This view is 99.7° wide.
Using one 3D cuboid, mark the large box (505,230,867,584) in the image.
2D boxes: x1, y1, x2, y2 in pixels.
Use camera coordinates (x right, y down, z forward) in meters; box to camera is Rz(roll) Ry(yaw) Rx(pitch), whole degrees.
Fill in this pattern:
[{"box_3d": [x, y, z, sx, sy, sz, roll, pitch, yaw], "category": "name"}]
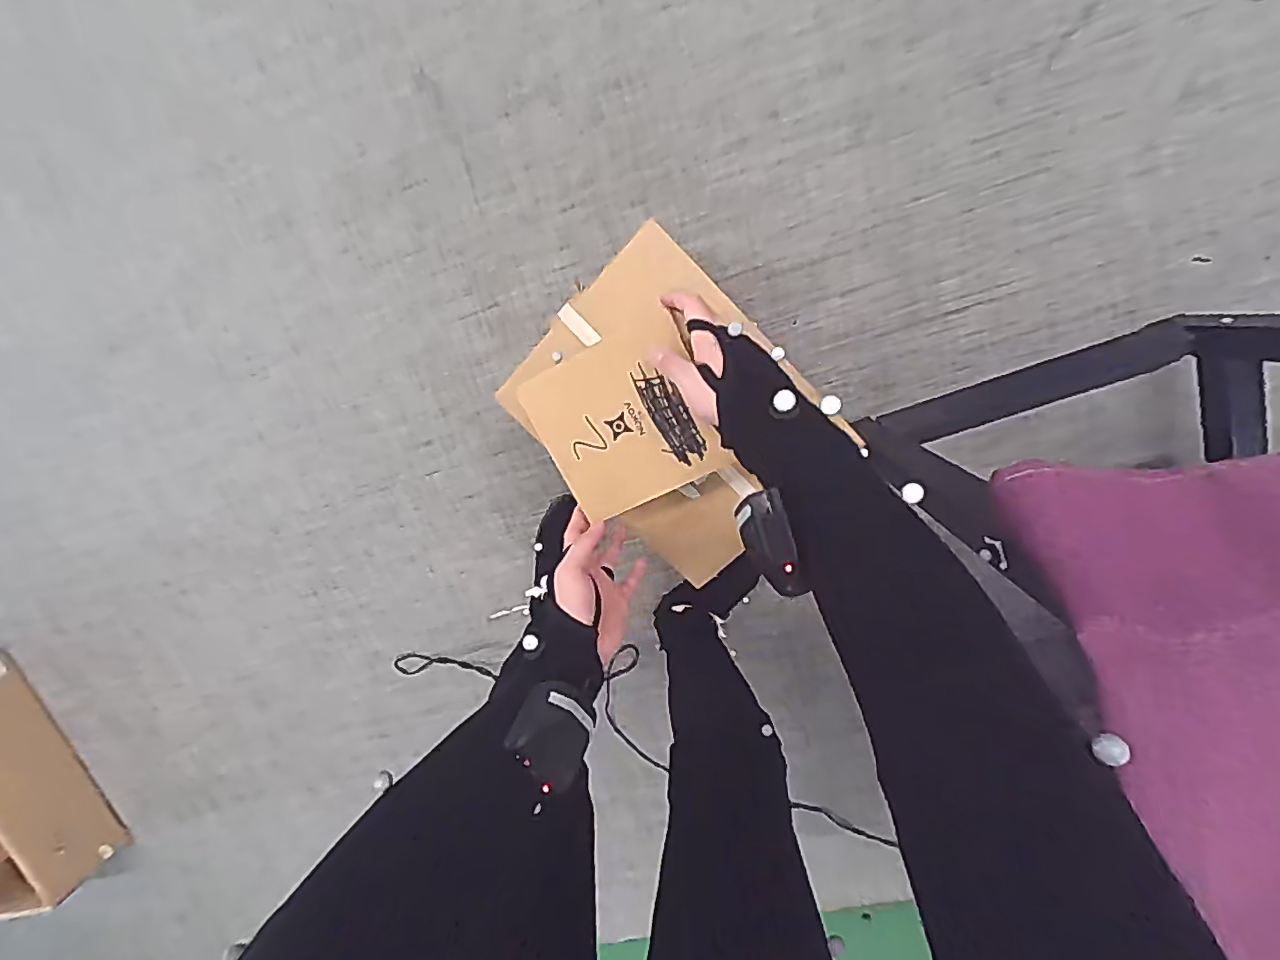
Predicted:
[{"box_3d": [0.067, -0.120, 0.874, 0.408, 0.320, 0.320, 43, 105, -8], "category": "large box"}]
